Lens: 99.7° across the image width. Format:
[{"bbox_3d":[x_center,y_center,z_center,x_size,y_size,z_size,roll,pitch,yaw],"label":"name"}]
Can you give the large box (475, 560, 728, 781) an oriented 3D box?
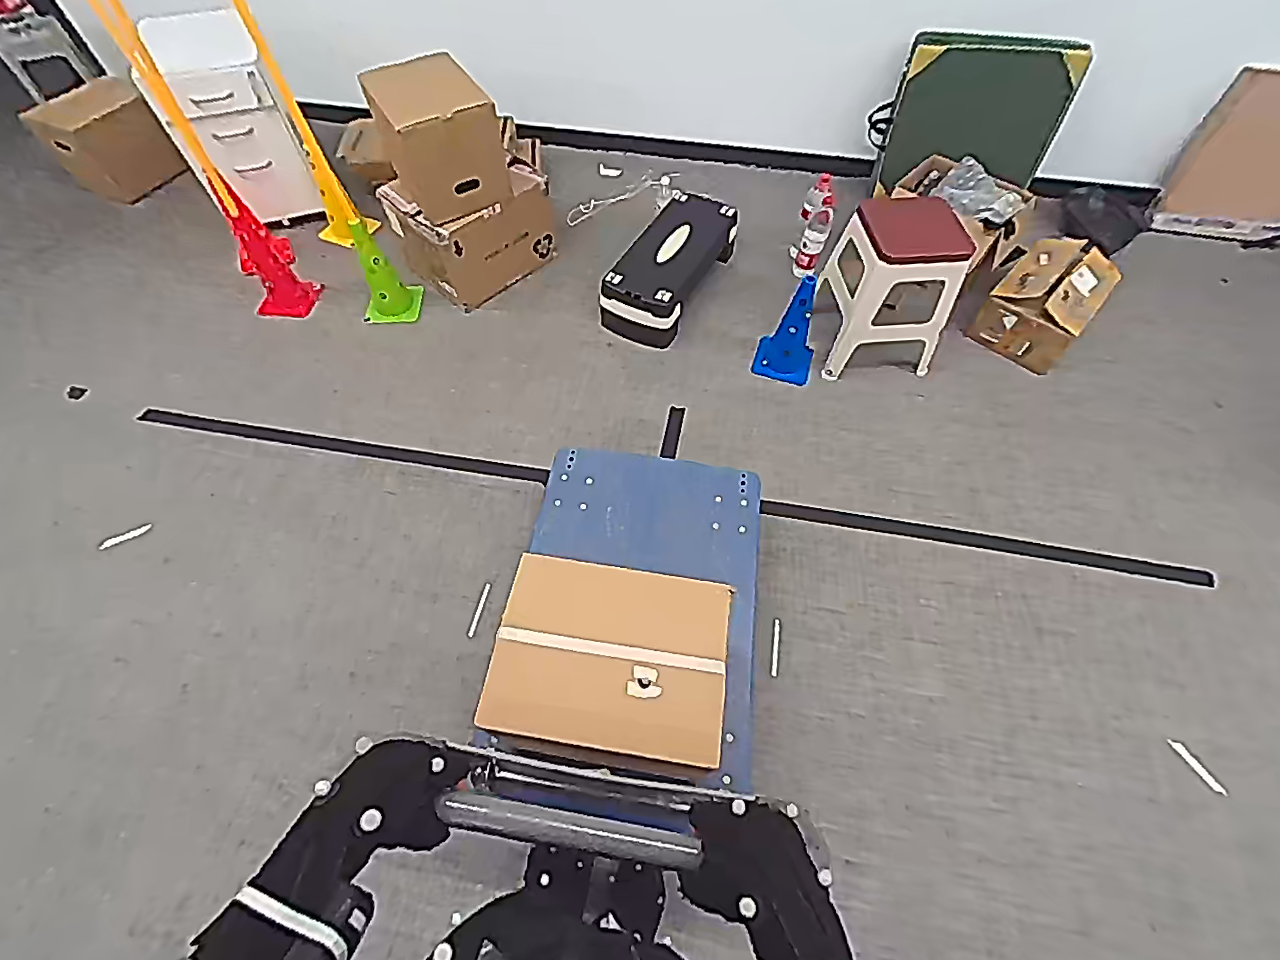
[{"bbox_3d":[-0.060,0.384,1.066,0.408,0.320,0.320,9,59,3],"label":"large box"}]
